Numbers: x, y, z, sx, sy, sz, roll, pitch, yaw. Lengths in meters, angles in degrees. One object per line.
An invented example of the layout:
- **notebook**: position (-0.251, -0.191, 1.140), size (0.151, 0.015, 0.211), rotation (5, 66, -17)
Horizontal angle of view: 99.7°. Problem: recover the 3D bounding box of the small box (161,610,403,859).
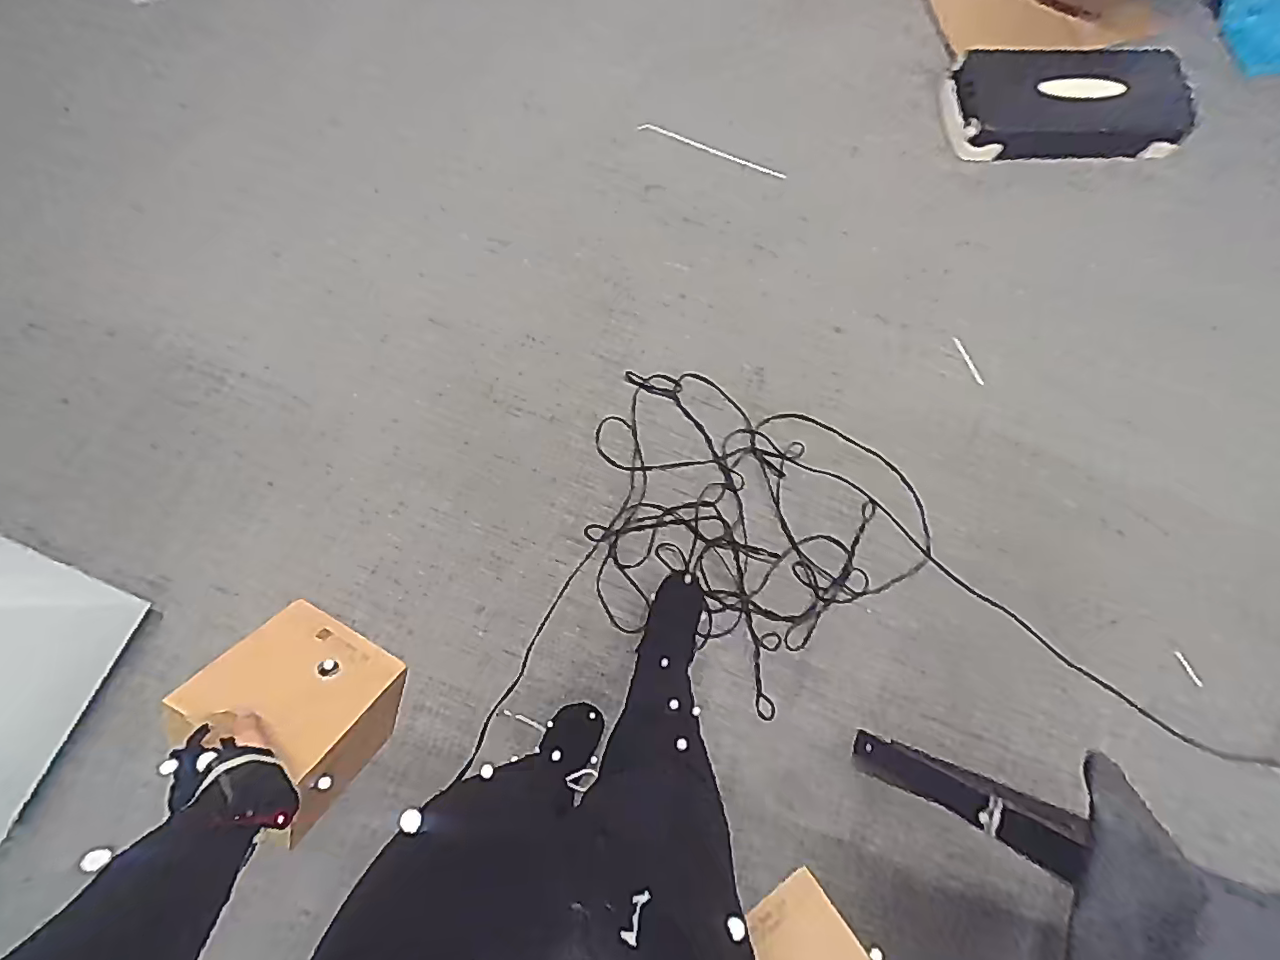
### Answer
- **small box**: position (-0.410, 0.295, 0.645), size (0.168, 0.179, 0.176), rotation (29, 33, 5)
